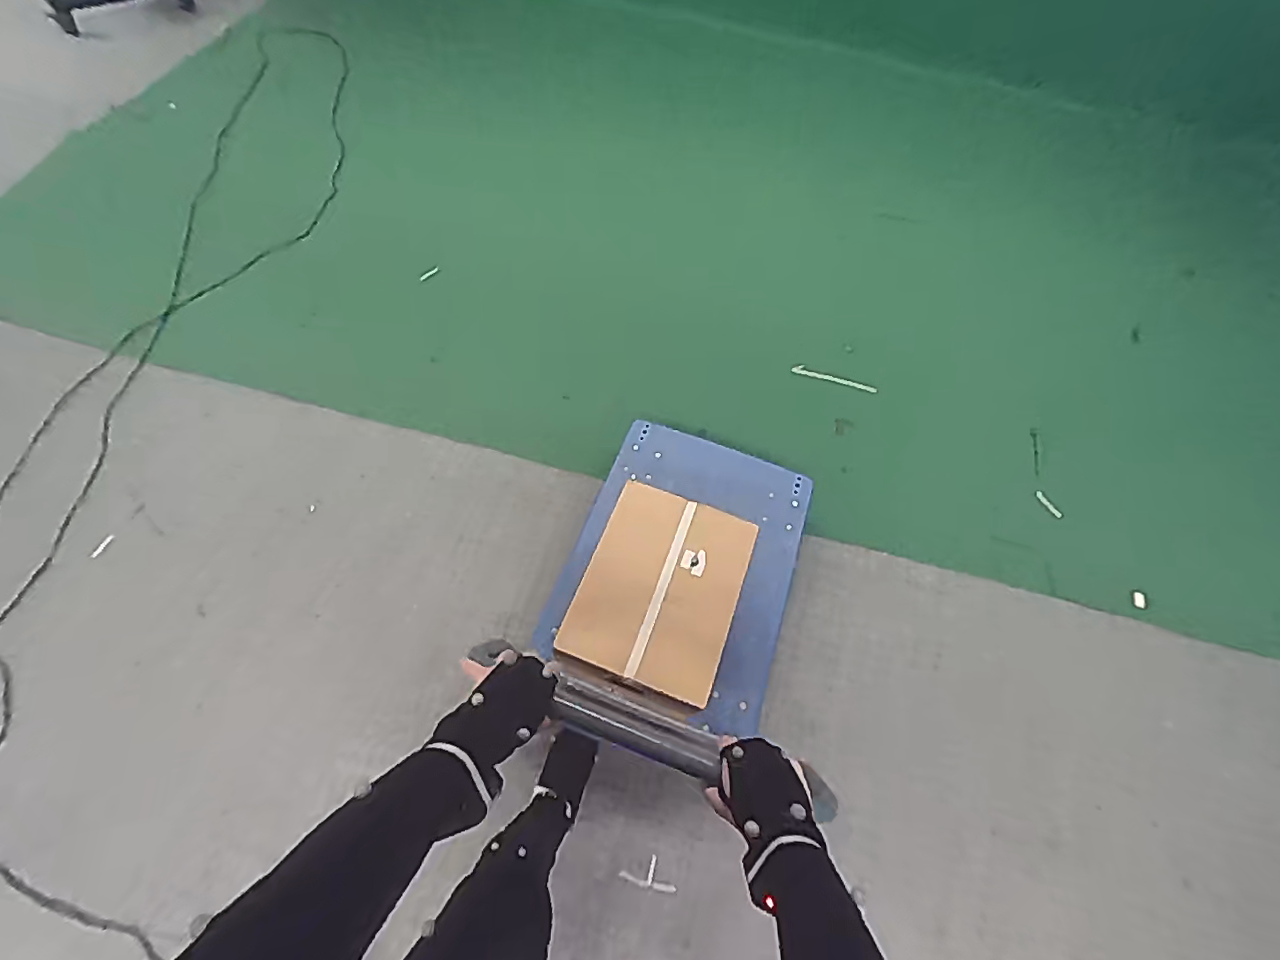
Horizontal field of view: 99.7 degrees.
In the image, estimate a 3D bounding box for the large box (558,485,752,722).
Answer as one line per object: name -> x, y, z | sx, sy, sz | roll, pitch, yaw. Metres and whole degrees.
large box -> 0.035, 0.294, 1.261 | 0.320, 0.320, 0.408 | 20, 60, 6
